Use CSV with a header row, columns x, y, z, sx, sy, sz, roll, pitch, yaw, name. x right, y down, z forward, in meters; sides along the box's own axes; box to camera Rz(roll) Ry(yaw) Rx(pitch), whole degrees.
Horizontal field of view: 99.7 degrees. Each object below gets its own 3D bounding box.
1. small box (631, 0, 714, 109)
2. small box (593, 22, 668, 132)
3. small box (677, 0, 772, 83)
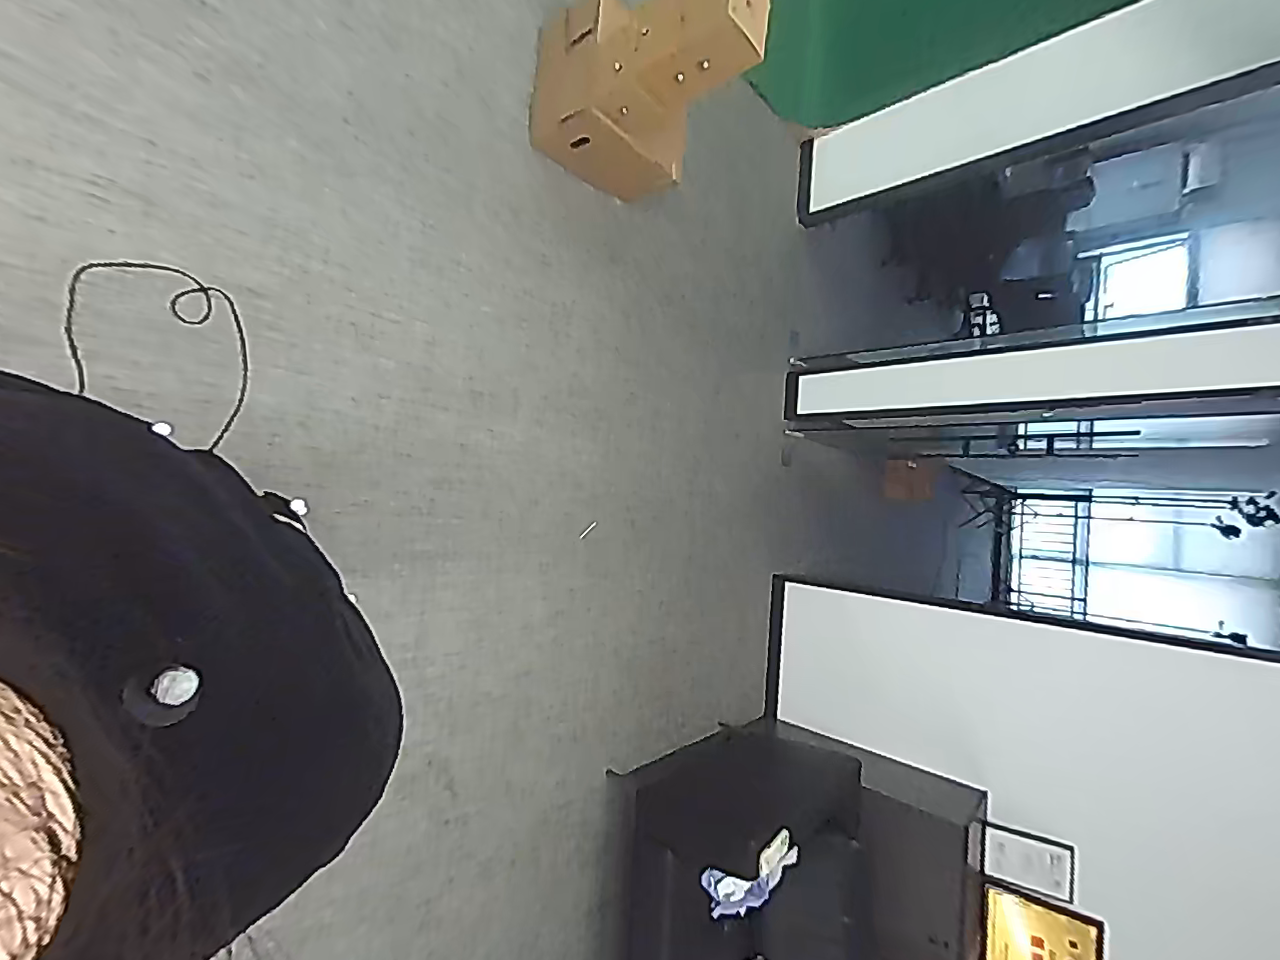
x,y,z,sx,sy,sz,roll,pitch,yaw,name
0.100,-1.186,1.515,0.179,0.176,0.168,9,86,-47,small box
-0.024,-1.193,1.621,0.168,0.176,0.179,9,86,-49,small box
0.220,-1.179,1.403,0.179,0.176,0.168,9,86,-48,small box
